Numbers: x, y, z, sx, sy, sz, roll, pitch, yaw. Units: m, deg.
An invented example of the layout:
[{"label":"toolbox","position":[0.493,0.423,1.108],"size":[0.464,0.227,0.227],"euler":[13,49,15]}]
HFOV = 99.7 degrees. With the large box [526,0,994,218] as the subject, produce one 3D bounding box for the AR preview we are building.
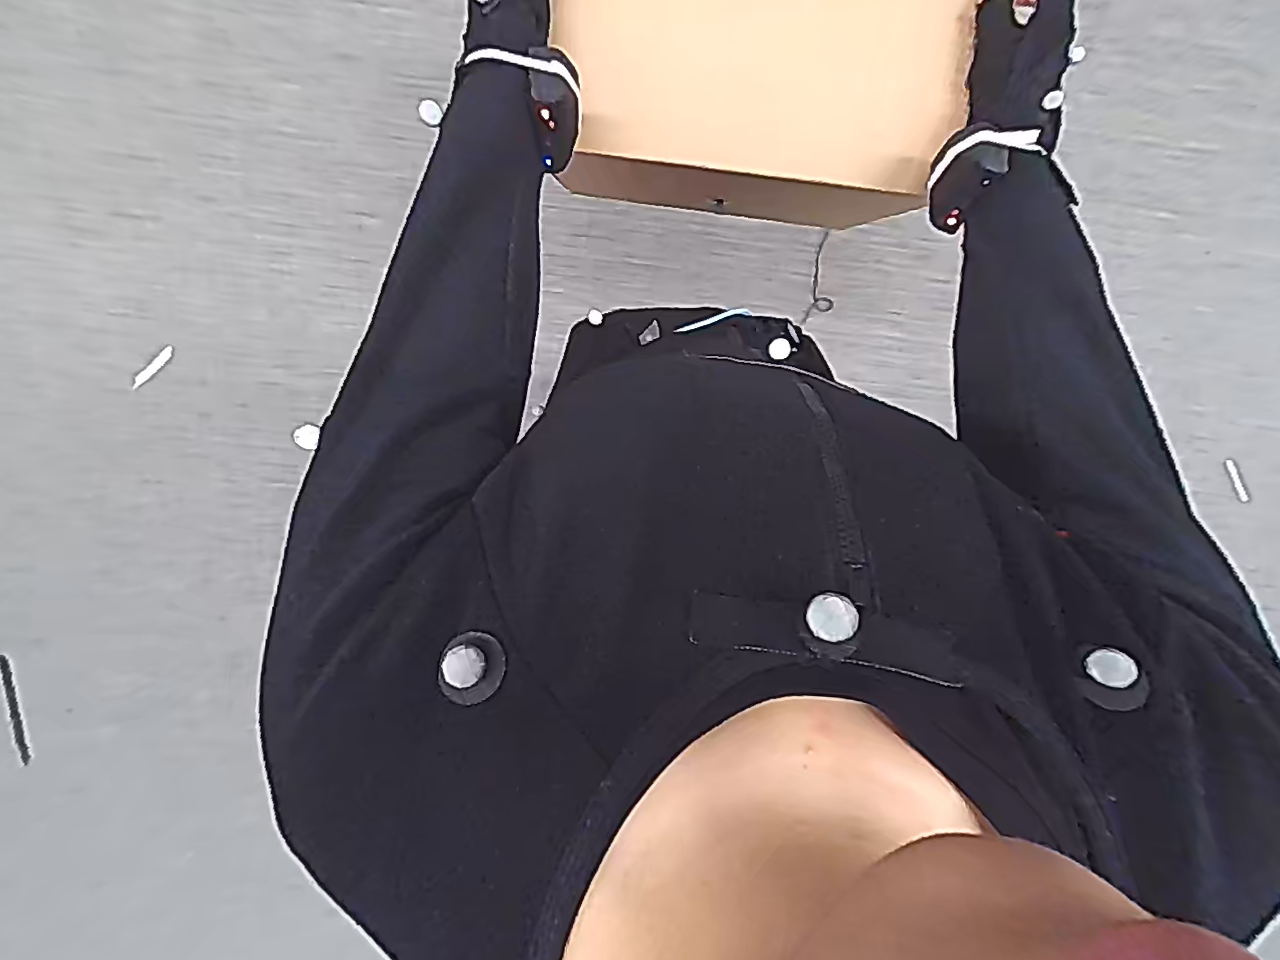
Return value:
[{"label":"large box","position":[0.112,-0.486,0.593],"size":[0.408,0.320,0.320],"euler":[7,110,-1]}]
